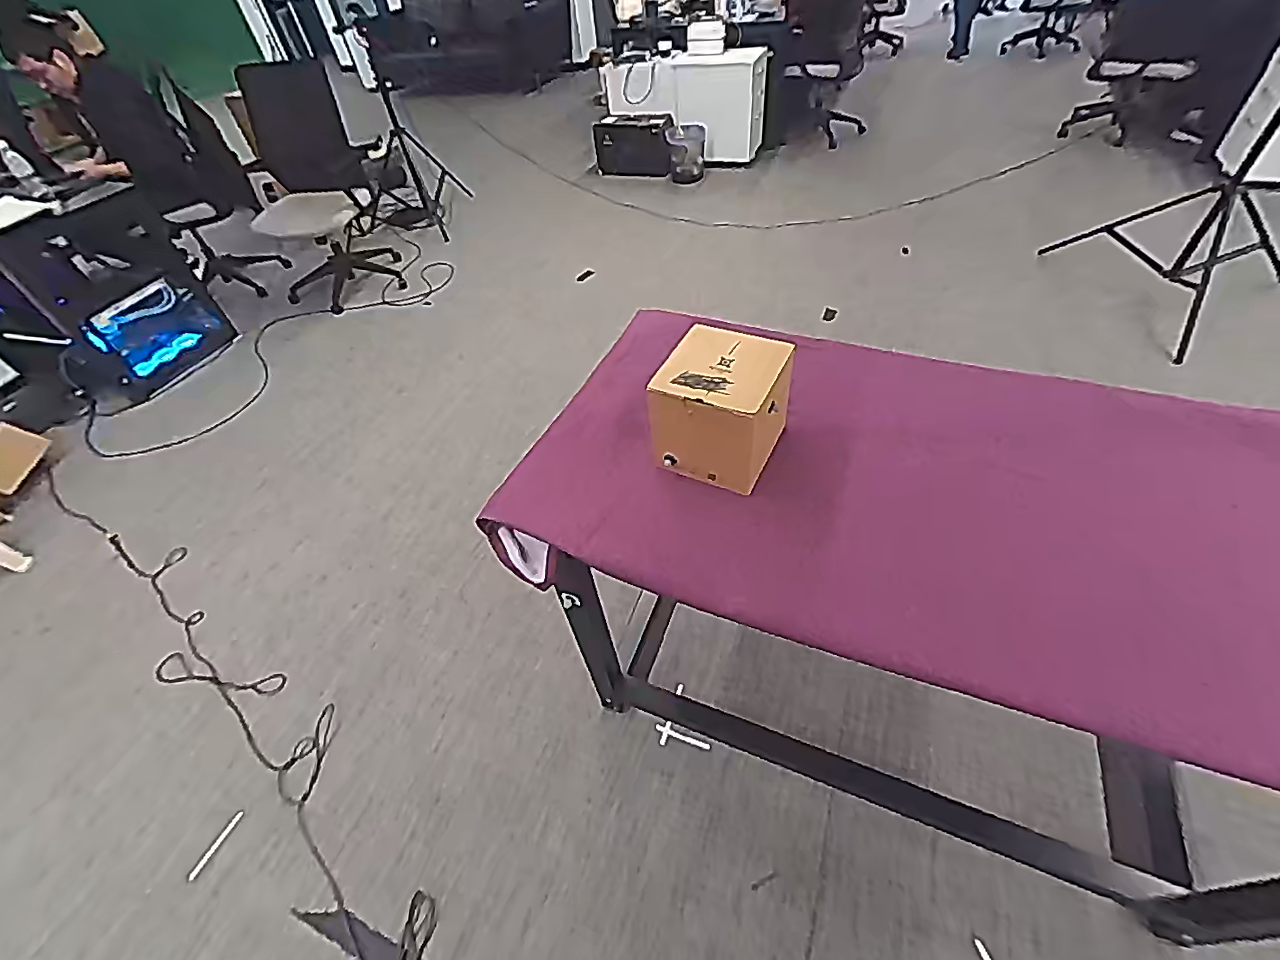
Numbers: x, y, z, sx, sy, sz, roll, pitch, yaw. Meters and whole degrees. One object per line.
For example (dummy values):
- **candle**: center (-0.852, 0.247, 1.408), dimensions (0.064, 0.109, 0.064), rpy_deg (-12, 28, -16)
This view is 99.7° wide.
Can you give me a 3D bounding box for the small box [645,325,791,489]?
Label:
- **small box**: center (0.125, -0.113, 0.852), dimensions (0.168, 0.176, 0.179), rpy_deg (19, 53, 22)
